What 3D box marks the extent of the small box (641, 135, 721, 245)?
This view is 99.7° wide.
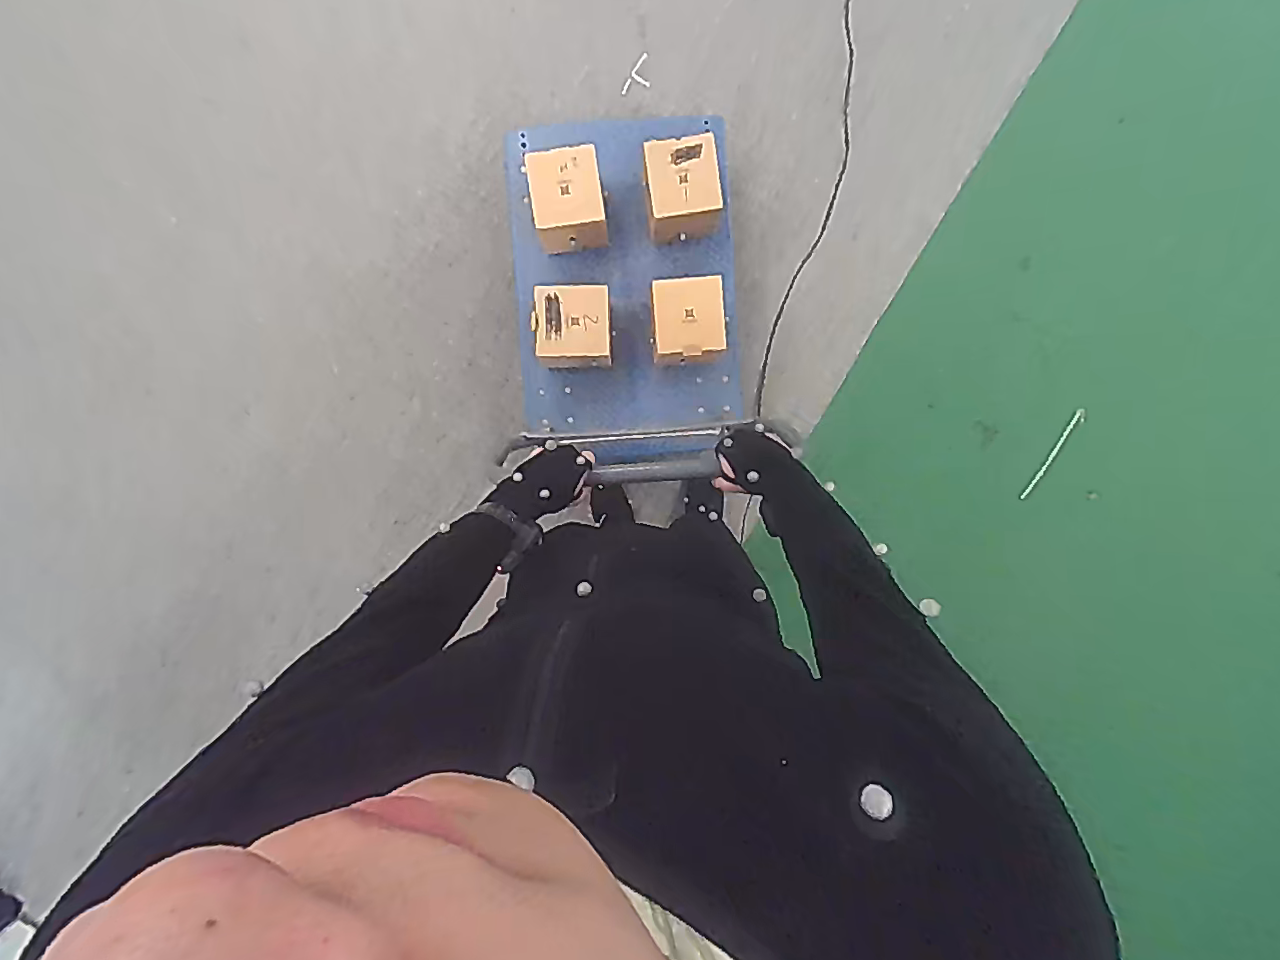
[{"bbox_3d":[0.095,-0.704,1.327,0.168,0.176,0.179,-8,94,0],"label":"small box"}]

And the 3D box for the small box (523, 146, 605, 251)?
[{"bbox_3d":[-0.179,-0.676,1.323,0.168,0.176,0.179,-8,94,-2],"label":"small box"}]

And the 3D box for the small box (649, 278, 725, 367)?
[{"bbox_3d":[0.111,-0.387,1.348,0.168,0.176,0.179,-5,94,-1],"label":"small box"}]
